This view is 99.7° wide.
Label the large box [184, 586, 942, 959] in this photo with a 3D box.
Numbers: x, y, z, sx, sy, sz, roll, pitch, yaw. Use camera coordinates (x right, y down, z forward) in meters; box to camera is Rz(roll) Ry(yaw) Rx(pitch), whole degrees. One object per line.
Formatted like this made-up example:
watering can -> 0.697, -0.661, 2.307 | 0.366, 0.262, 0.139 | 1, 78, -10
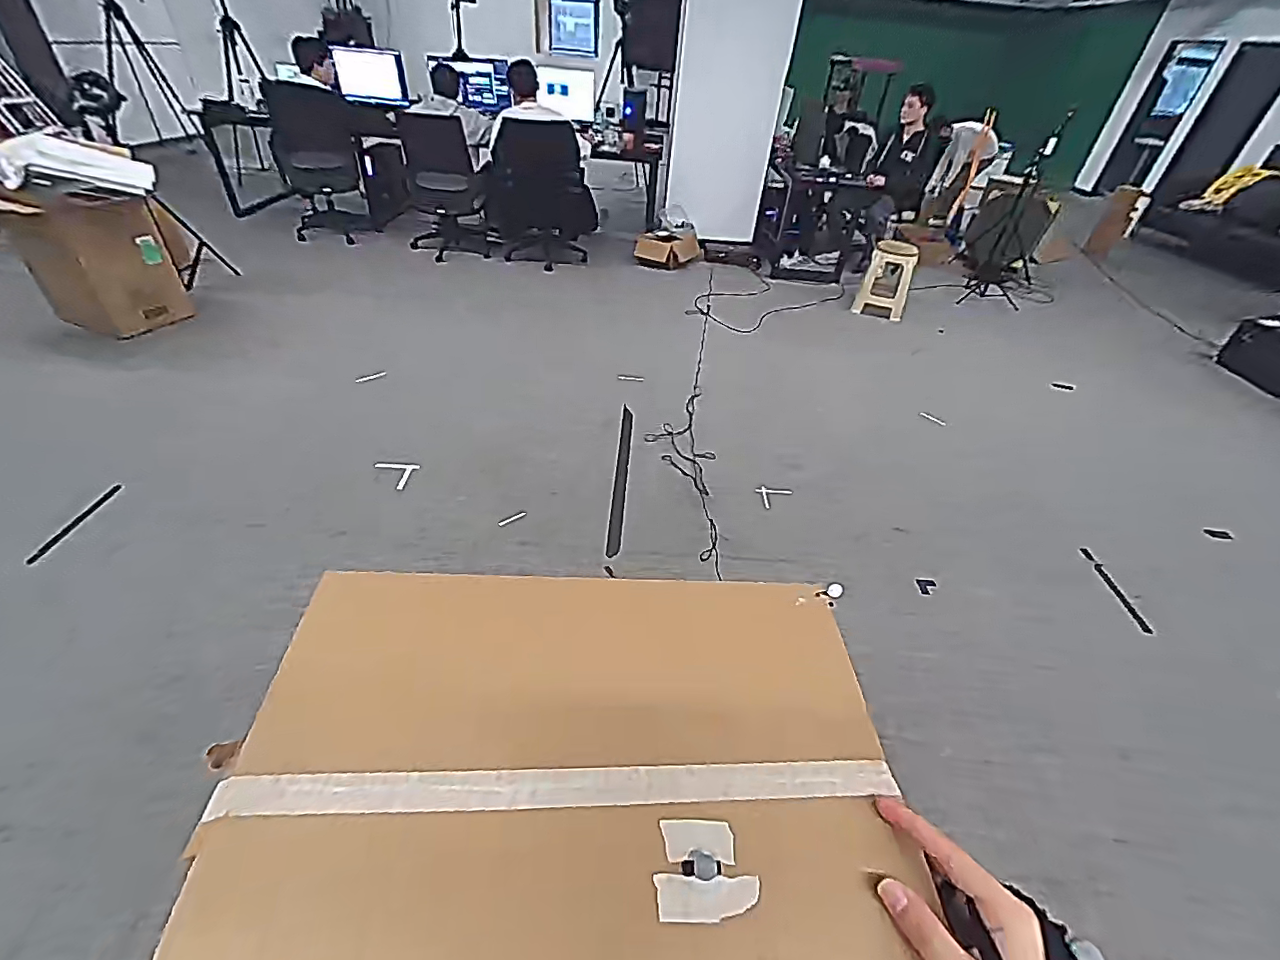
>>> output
large box -> -0.053, 0.305, 0.441 | 0.408, 0.320, 0.320 | 3, 44, -8
